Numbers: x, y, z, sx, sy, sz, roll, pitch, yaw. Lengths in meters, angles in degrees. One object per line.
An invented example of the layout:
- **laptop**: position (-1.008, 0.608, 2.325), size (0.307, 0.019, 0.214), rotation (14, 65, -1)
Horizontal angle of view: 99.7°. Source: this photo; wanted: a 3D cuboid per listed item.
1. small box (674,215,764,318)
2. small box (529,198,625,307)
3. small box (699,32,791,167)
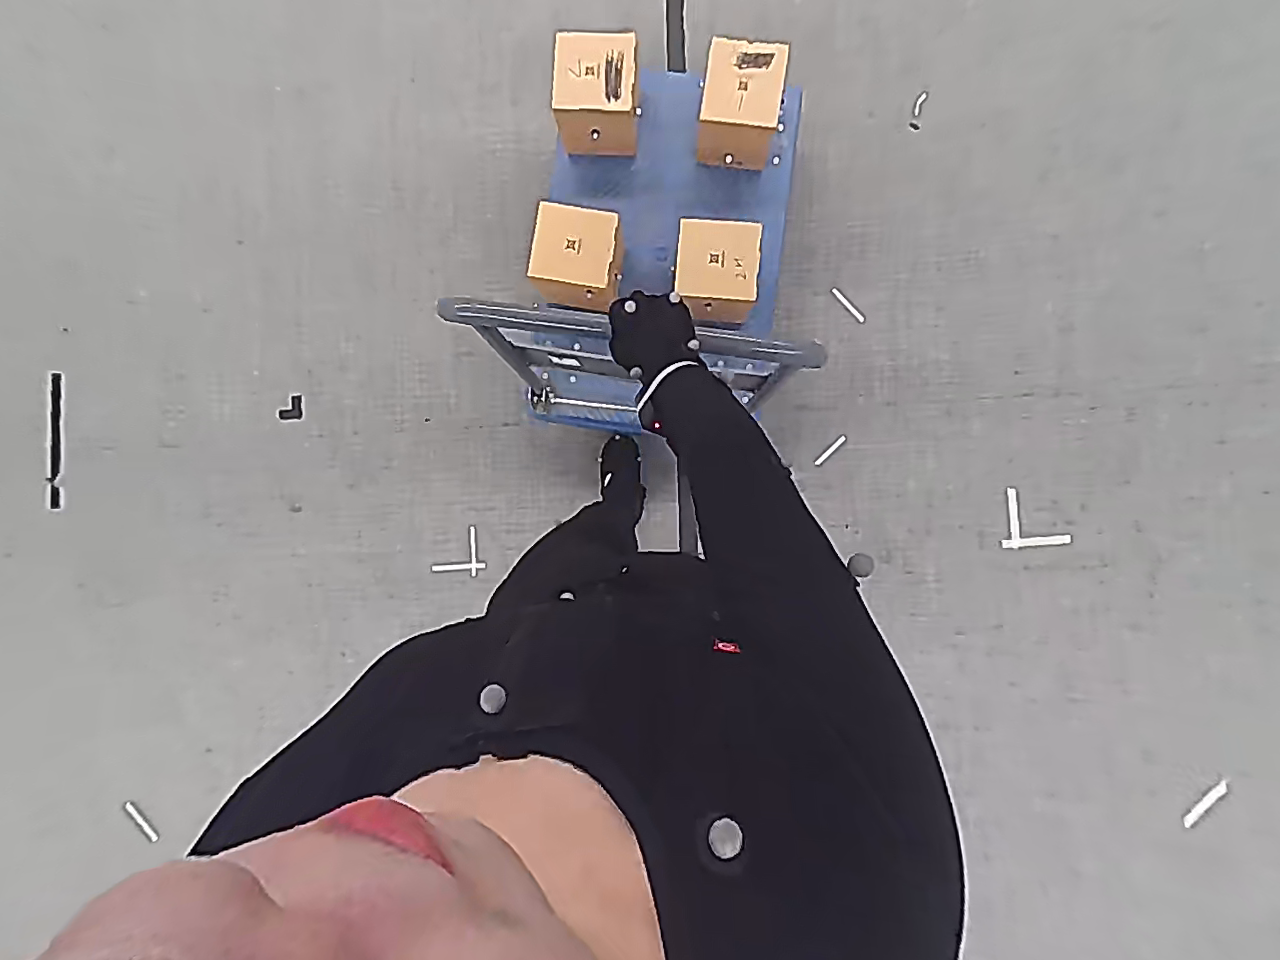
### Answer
- **small box**: position (0.171, -0.472, 1.217), size (0.179, 0.176, 0.168), rotation (5, 91, 3)
- **small box**: position (-0.136, -0.508, 1.232), size (0.179, 0.176, 0.168), rotation (10, 91, 1)
- **small box**: position (0.226, -0.842, 1.210), size (0.168, 0.176, 0.179), rotation (9, 92, 3)
